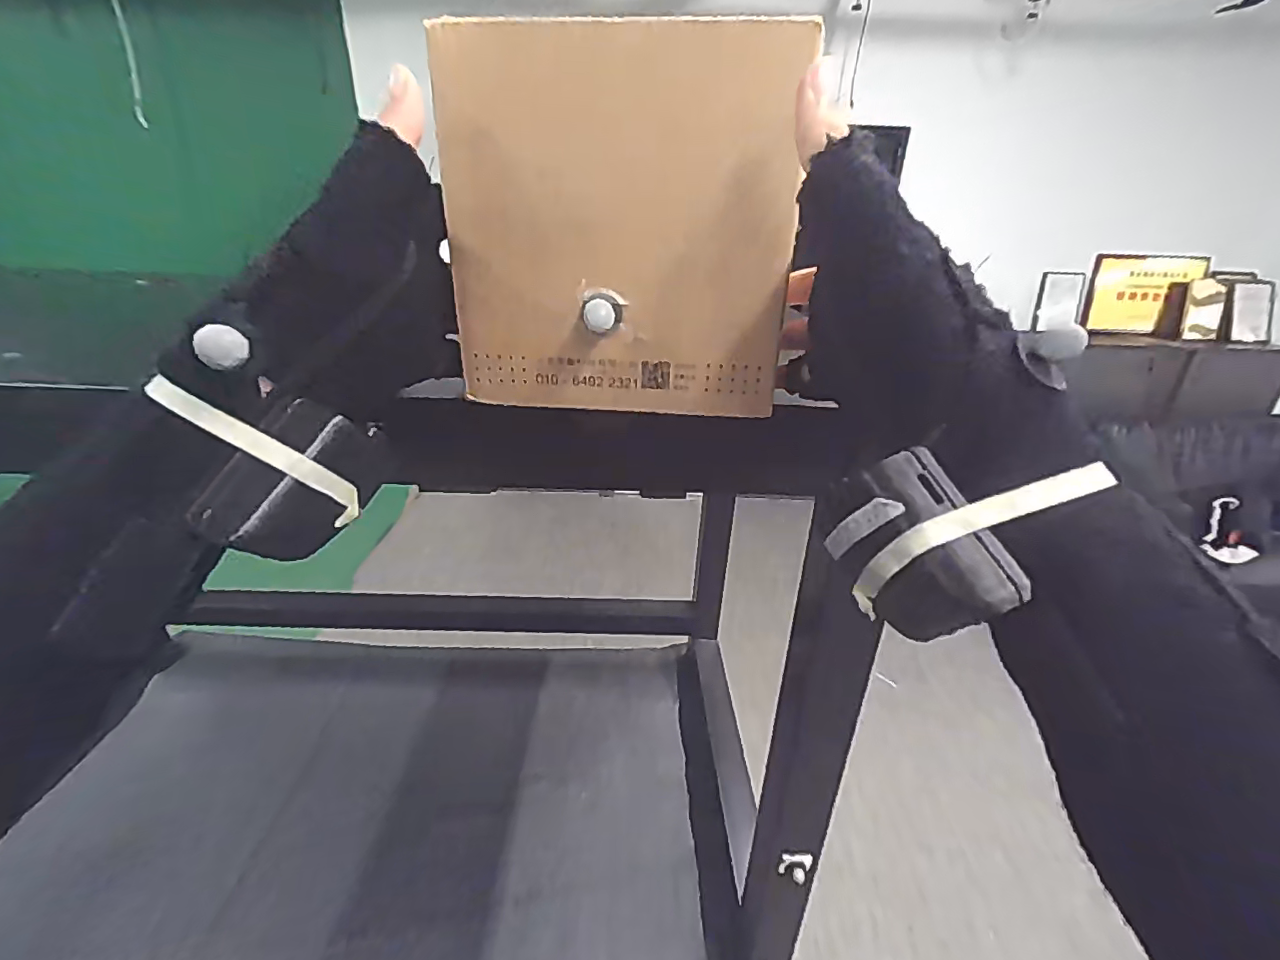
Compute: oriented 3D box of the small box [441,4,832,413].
[{"bbox_3d":[0.002,-0.149,0.327,0.168,0.176,0.179,4,26,5],"label":"small box"}]
